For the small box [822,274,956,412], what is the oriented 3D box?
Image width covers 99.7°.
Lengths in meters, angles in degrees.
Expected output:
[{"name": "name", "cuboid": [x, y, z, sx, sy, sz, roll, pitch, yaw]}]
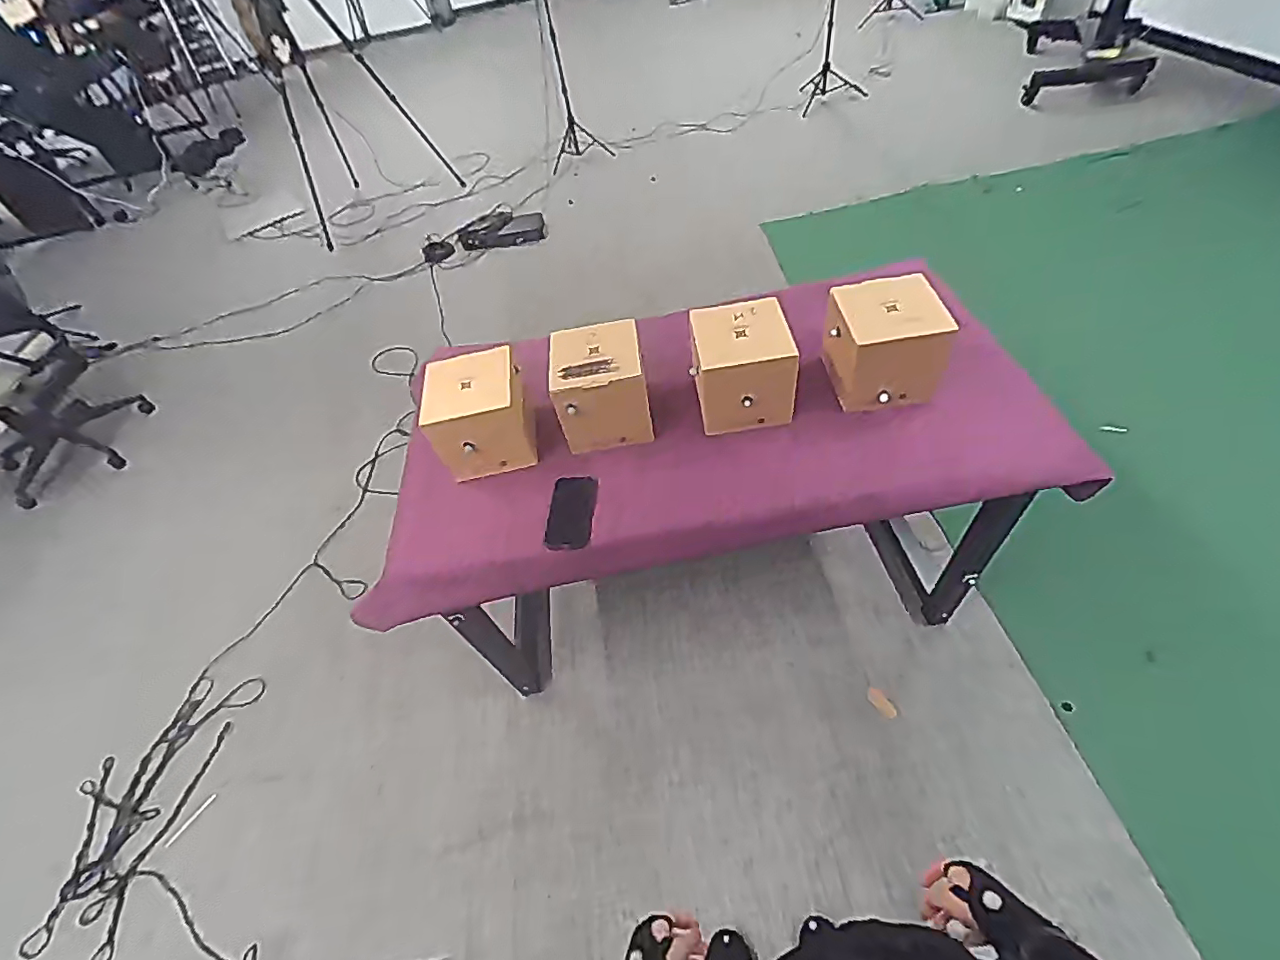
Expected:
[{"name": "small box", "cuboid": [0.446, -0.251, 1.004, 0.168, 0.176, 0.179, -7, 51, 6]}]

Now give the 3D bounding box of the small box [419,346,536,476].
[{"name": "small box", "cuboid": [-0.304, -0.124, 1.043, 0.168, 0.176, 0.179, -13, 50, 0]}]

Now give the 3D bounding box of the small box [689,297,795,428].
[{"name": "small box", "cuboid": [0.188, -0.213, 1.020, 0.168, 0.176, 0.179, -8, 51, 4]}]
